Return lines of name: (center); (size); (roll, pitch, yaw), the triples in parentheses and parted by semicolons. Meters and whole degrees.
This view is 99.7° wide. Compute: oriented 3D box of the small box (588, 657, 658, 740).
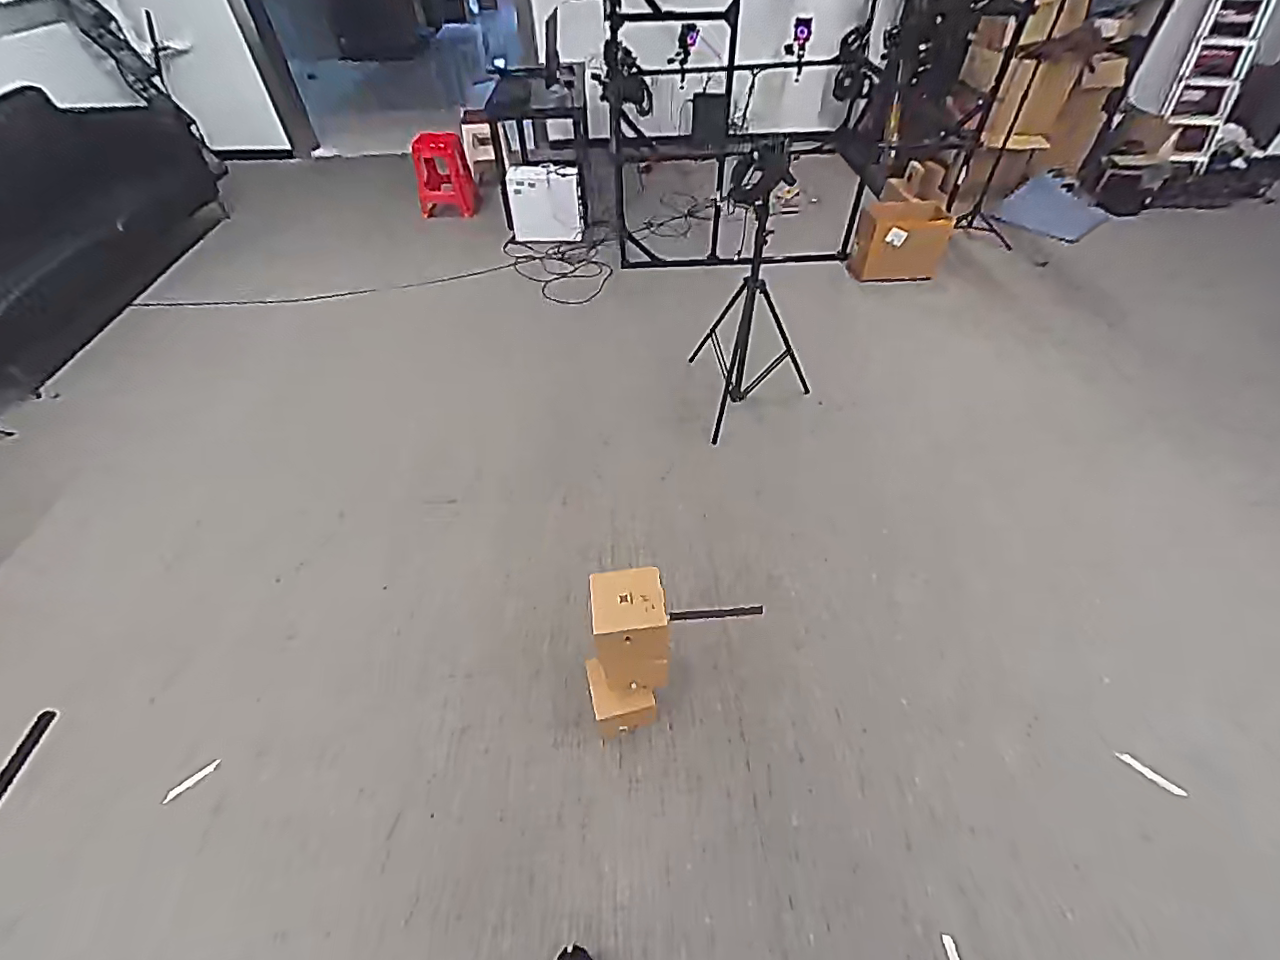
small box: (-0.049, 0.609, 1.535); (0.168, 0.176, 0.179); (-11, 48, -8)

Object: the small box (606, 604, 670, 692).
small box: (-0.003, 0.452, 1.457); (0.168, 0.176, 0.179); (-1, 47, 2)

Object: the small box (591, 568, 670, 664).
small box: (-0.022, 0.340, 1.337); (0.179, 0.176, 0.168); (-6, 47, -3)
